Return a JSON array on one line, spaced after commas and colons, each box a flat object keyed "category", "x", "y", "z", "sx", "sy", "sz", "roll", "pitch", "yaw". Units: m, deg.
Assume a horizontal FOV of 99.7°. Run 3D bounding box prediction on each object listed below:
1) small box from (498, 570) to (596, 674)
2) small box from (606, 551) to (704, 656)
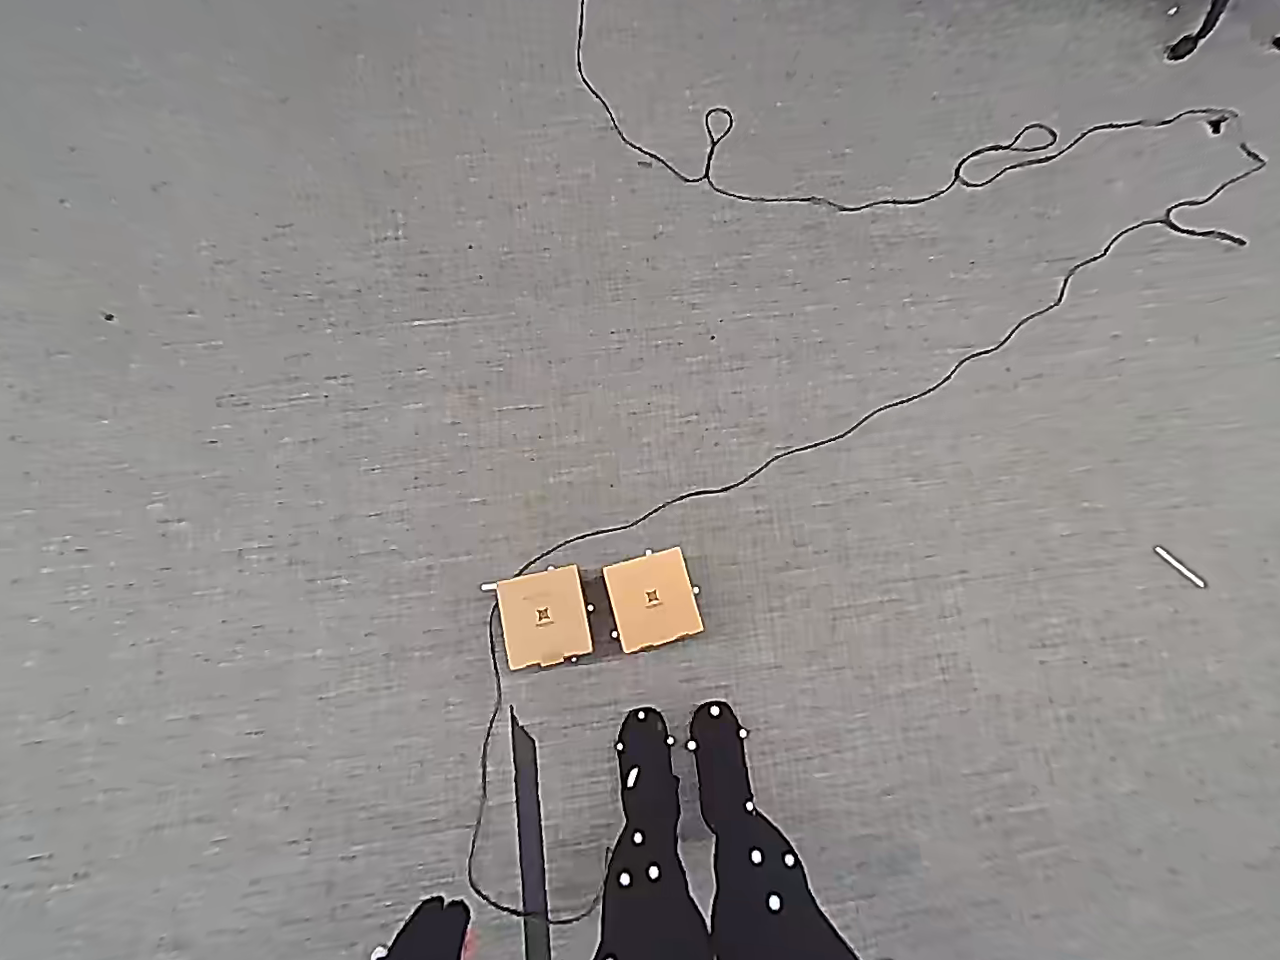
[{"category": "small box", "x": -0.190, "y": 0.295, "z": 1.143, "sx": 0.168, "sy": 0.176, "sz": 0.179, "roll": -11, "pitch": 78, "yaw": -5}, {"category": "small box", "x": 0.024, "y": 0.263, "z": 1.159, "sx": 0.168, "sy": 0.176, "sz": 0.179, "roll": -15, "pitch": 79, "yaw": -6}]
